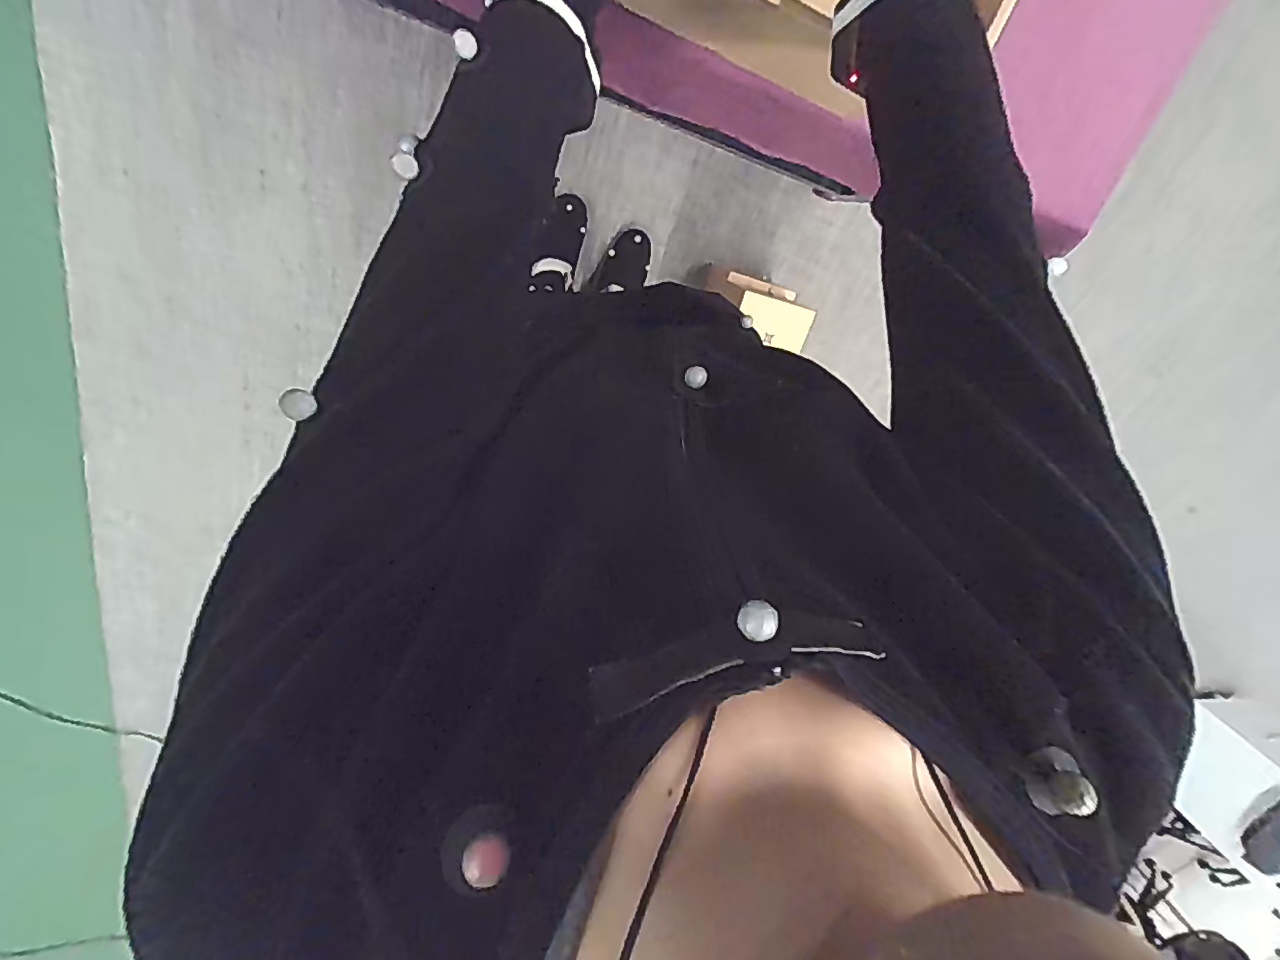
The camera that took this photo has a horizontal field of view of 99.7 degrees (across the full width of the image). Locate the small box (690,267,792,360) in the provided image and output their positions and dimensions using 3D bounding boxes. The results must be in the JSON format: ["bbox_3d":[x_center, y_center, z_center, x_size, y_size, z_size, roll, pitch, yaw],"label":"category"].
[{"bbox_3d":[0.243,-0.419,1.348,0.179,0.176,0.168,13,115,-14],"label":"small box"}]
